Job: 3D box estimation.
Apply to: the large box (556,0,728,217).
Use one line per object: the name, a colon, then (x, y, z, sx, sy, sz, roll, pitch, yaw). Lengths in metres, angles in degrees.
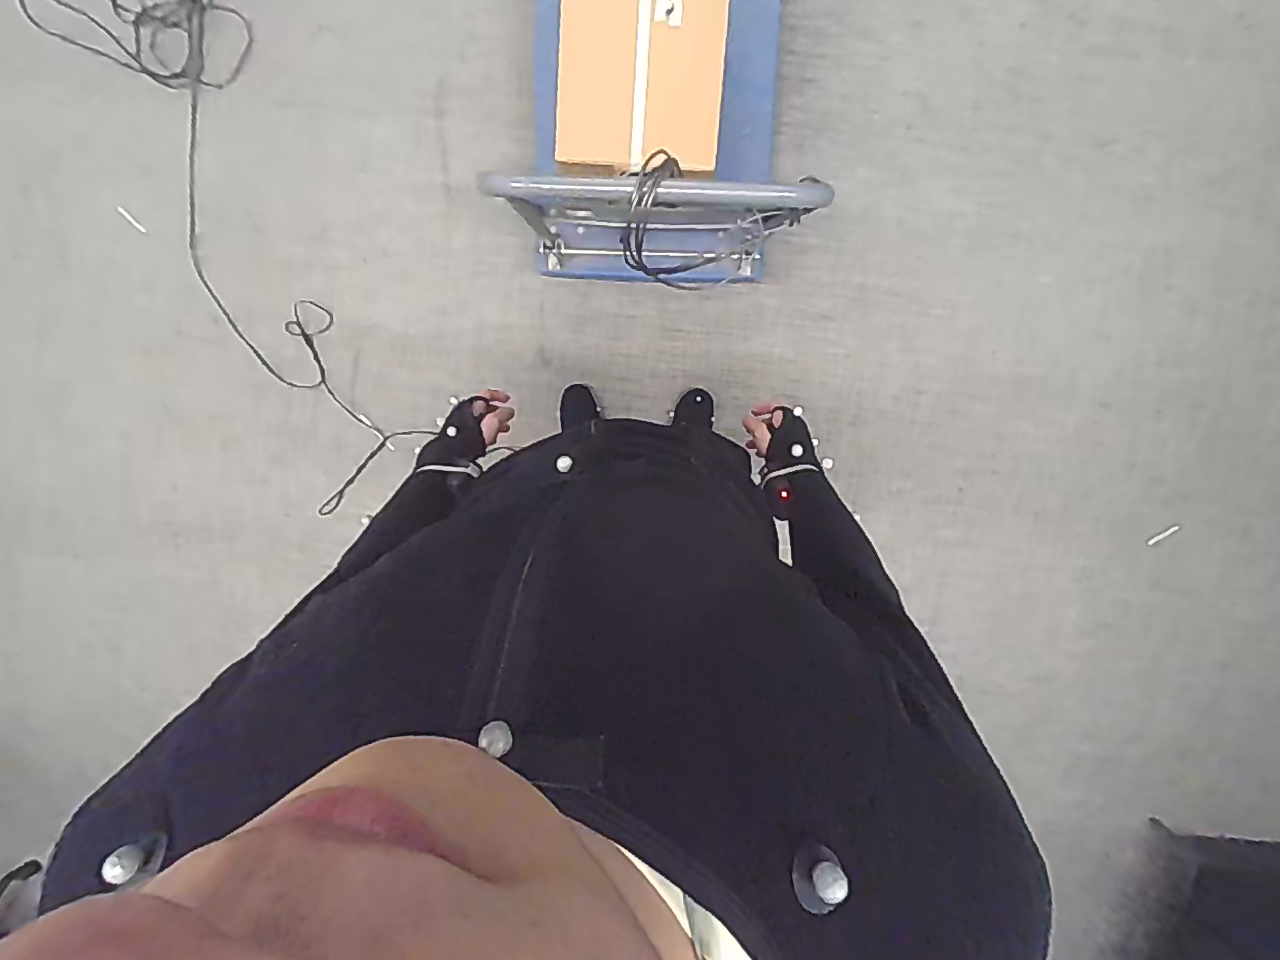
large box: (0.006, -0.827, 1.162, 0.320, 0.320, 0.408, 4, 100, 0)
